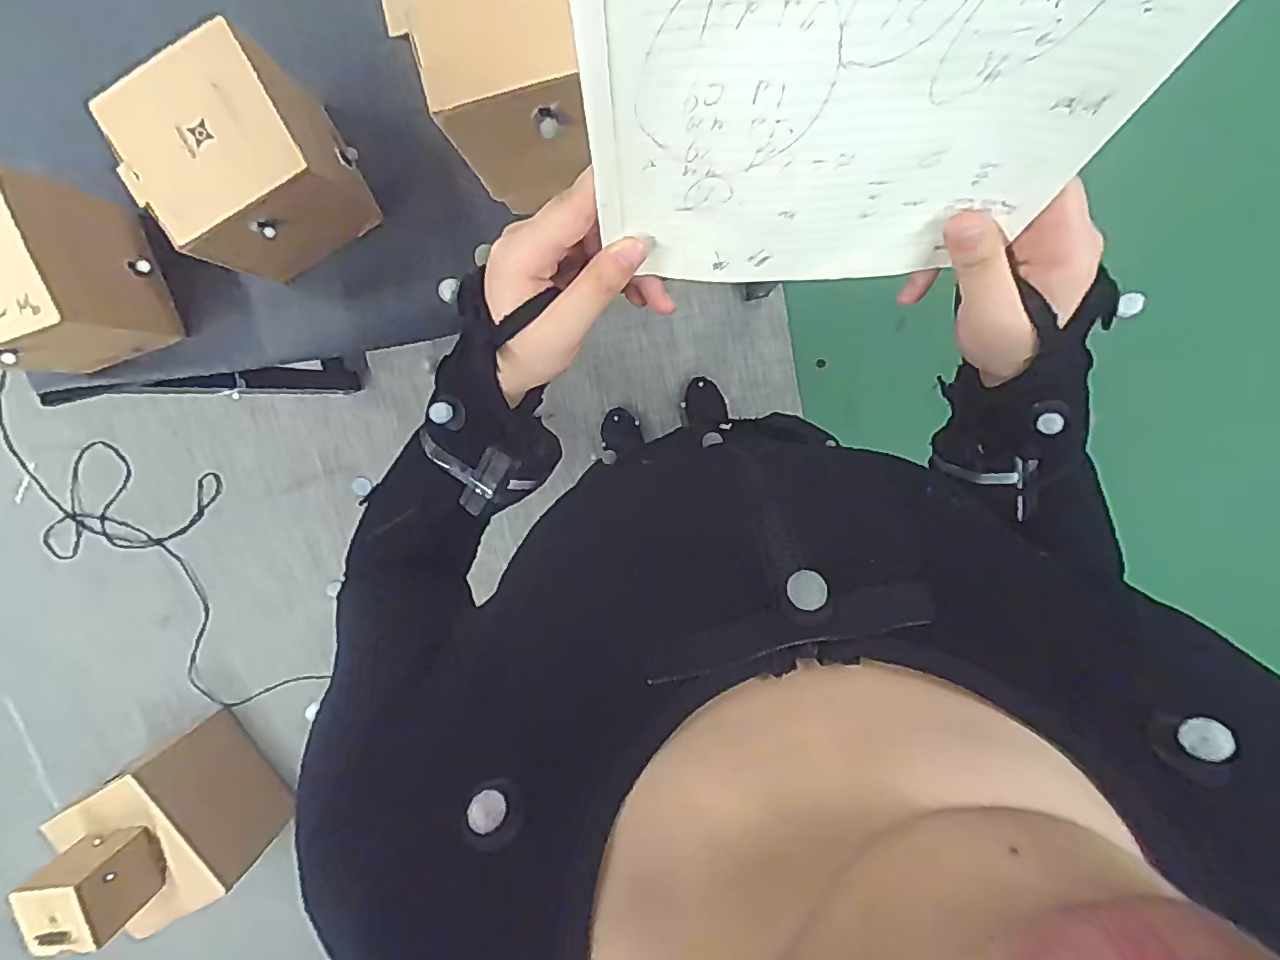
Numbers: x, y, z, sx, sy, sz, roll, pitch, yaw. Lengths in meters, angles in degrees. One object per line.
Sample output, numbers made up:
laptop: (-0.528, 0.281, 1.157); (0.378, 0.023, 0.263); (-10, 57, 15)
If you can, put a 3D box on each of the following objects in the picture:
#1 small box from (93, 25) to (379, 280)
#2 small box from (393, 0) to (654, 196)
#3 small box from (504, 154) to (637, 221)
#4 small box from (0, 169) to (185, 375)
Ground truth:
small box: (-0.456, -0.363, 0.643); (0.179, 0.176, 0.168); (-28, 97, 5)
small box: (-0.089, -0.373, 0.459); (0.179, 0.176, 0.168); (-13, 97, 5)
small box: (-0.089, -0.419, 0.617); (0.168, 0.176, 0.179); (4, 99, 3)
small box: (-0.732, -0.240, 0.670); (0.168, 0.176, 0.179); (-17, 97, 4)
